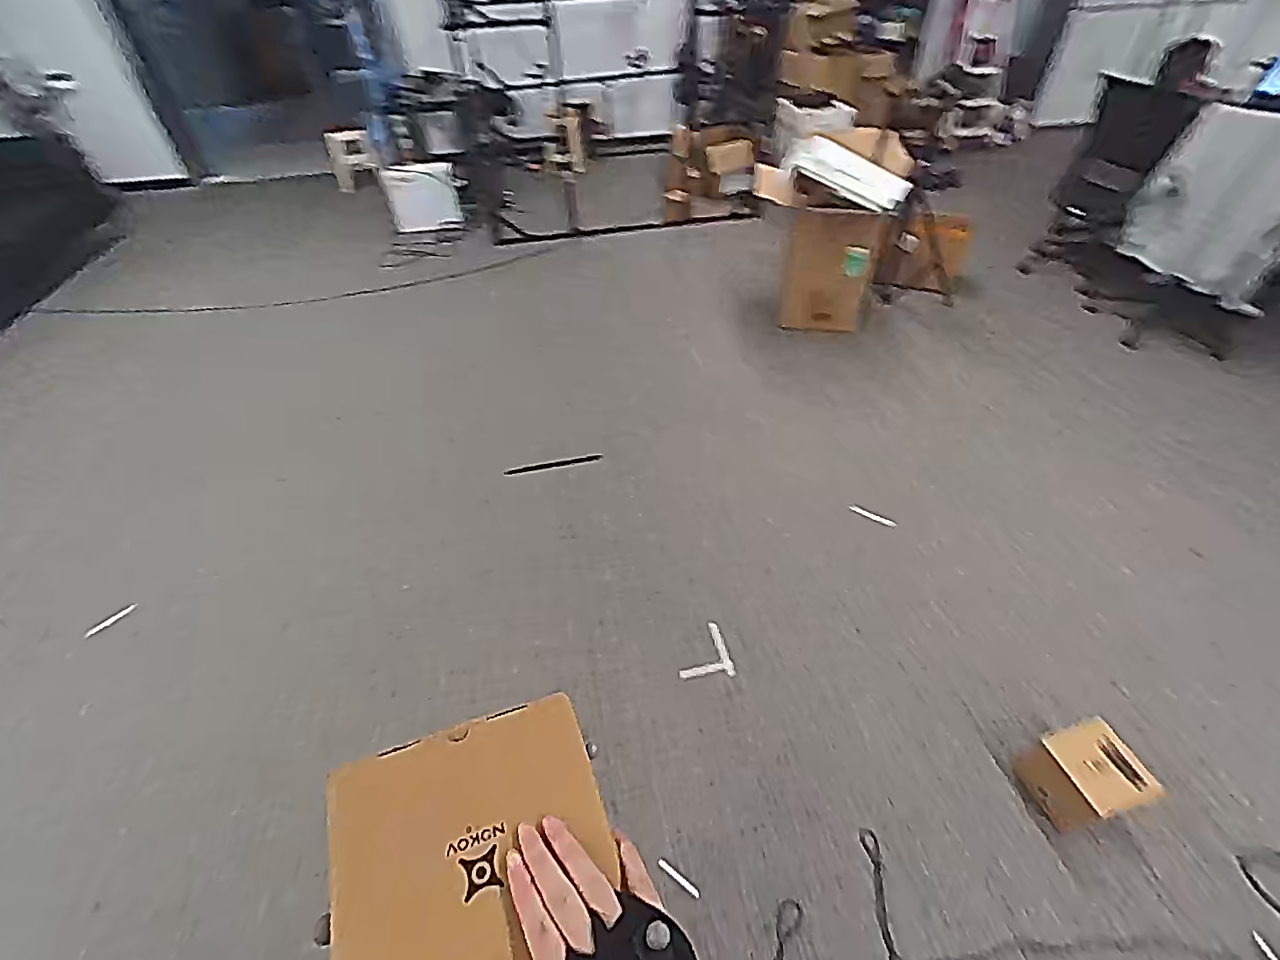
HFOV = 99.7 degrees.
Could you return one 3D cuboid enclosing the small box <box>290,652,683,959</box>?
[{"bbox_3d":[-0.099,0.250,0.373,0.179,0.176,0.168,-27,33,-11],"label":"small box"}]
